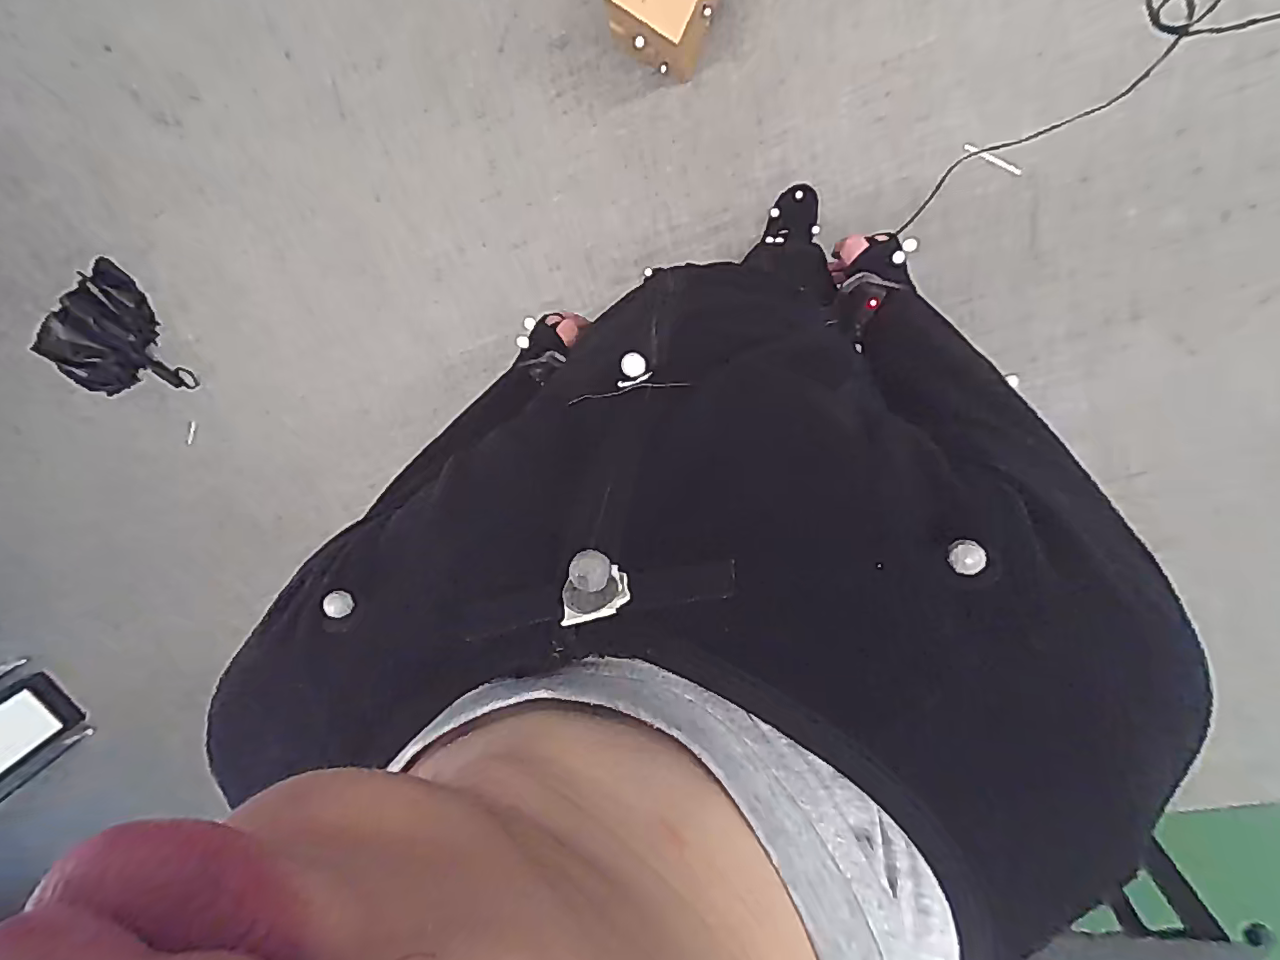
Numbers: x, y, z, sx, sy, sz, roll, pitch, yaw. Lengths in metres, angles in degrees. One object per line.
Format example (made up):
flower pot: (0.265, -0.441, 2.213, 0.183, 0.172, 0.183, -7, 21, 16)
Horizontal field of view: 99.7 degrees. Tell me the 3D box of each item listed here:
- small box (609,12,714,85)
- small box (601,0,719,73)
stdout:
small box: (0.052, -0.966, 1.126, 0.168, 0.176, 0.179, 23, 114, -3)
small box: (0.047, -0.891, 0.979, 0.168, 0.176, 0.179, 30, 115, -6)
